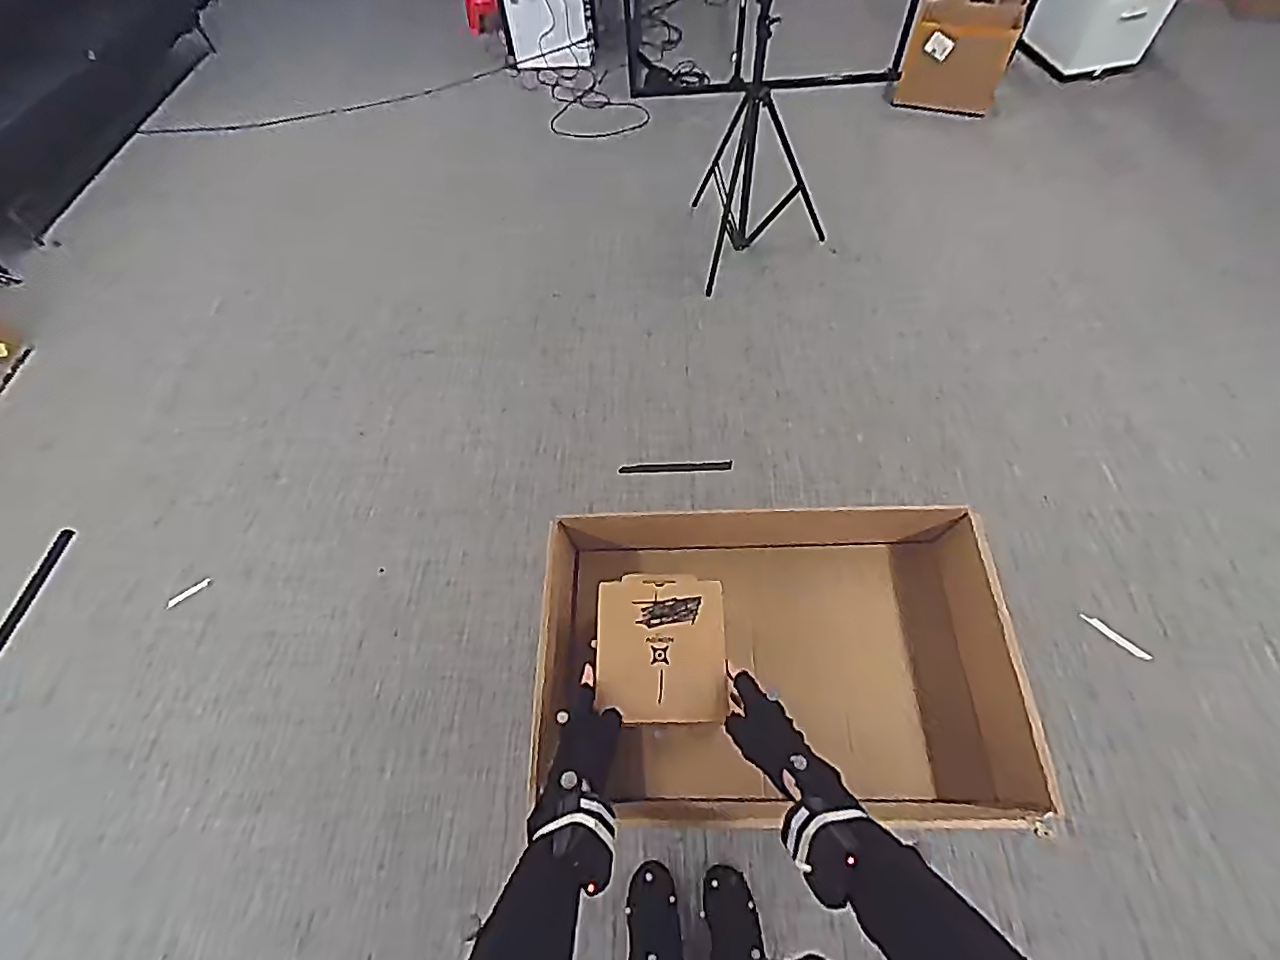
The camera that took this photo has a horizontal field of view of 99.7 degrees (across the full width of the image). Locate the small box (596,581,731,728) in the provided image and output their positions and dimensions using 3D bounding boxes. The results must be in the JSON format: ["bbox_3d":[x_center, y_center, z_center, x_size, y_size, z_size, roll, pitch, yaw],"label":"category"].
[{"bbox_3d":[0.033,0.250,0.758,0.168,0.176,0.179,-2,65,4],"label":"small box"}]
